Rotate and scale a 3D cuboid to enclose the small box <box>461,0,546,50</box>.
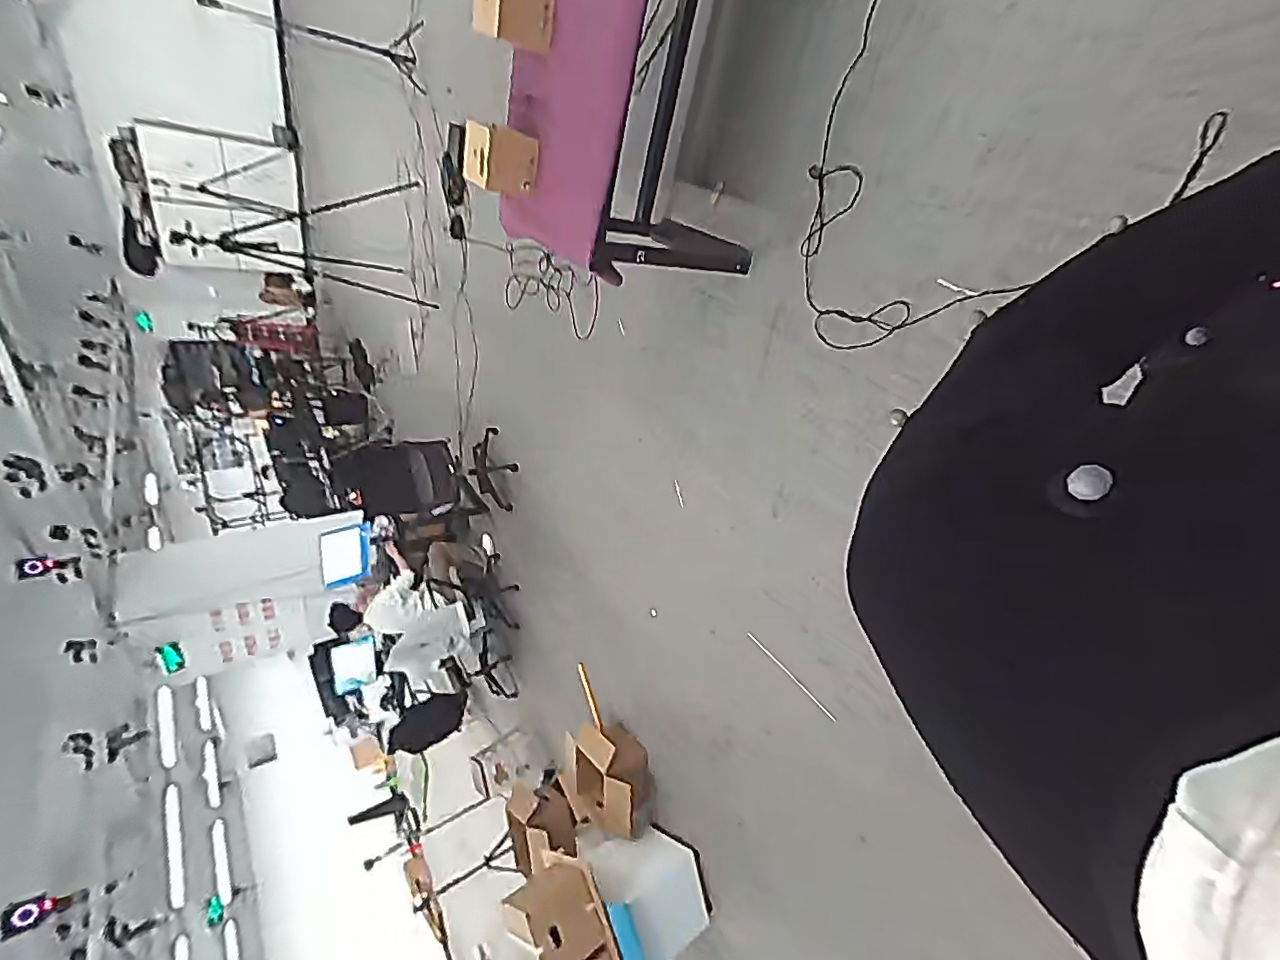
[{"bbox_3d":[-0.380,-1.328,1.502,0.179,0.176,0.168,44,133,33],"label":"small box"}]

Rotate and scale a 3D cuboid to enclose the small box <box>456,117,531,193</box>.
[{"bbox_3d":[-0.461,-1.015,1.697,0.179,0.176,0.168,43,131,35],"label":"small box"}]
